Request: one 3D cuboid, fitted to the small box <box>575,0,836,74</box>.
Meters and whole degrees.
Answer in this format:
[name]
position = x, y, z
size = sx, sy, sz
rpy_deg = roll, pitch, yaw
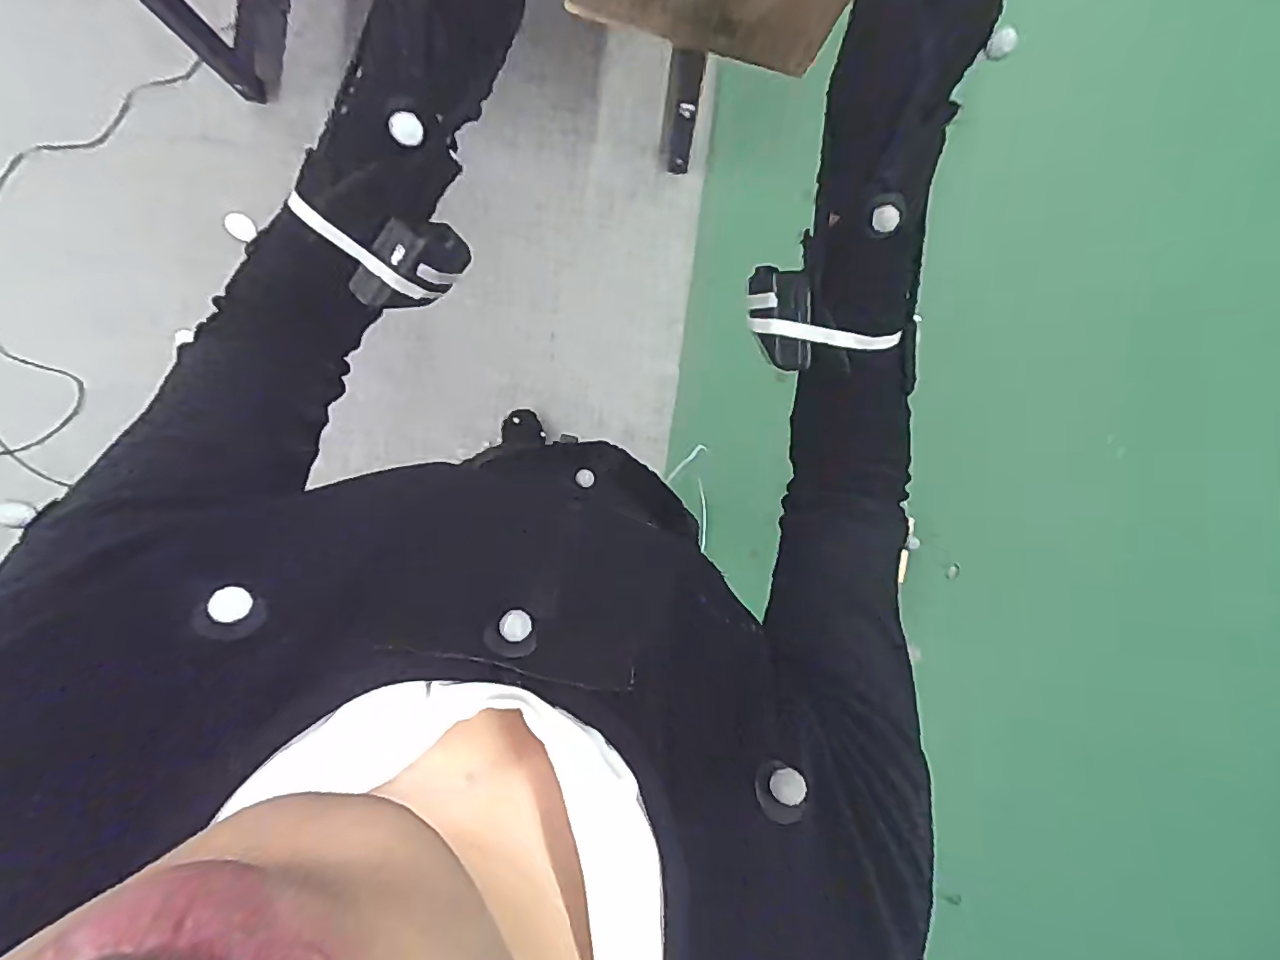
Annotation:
[small box]
position = 0.052, -0.369, 0.278
size = 0.168, 0.176, 0.179
rpy_deg = 10, 93, -8
